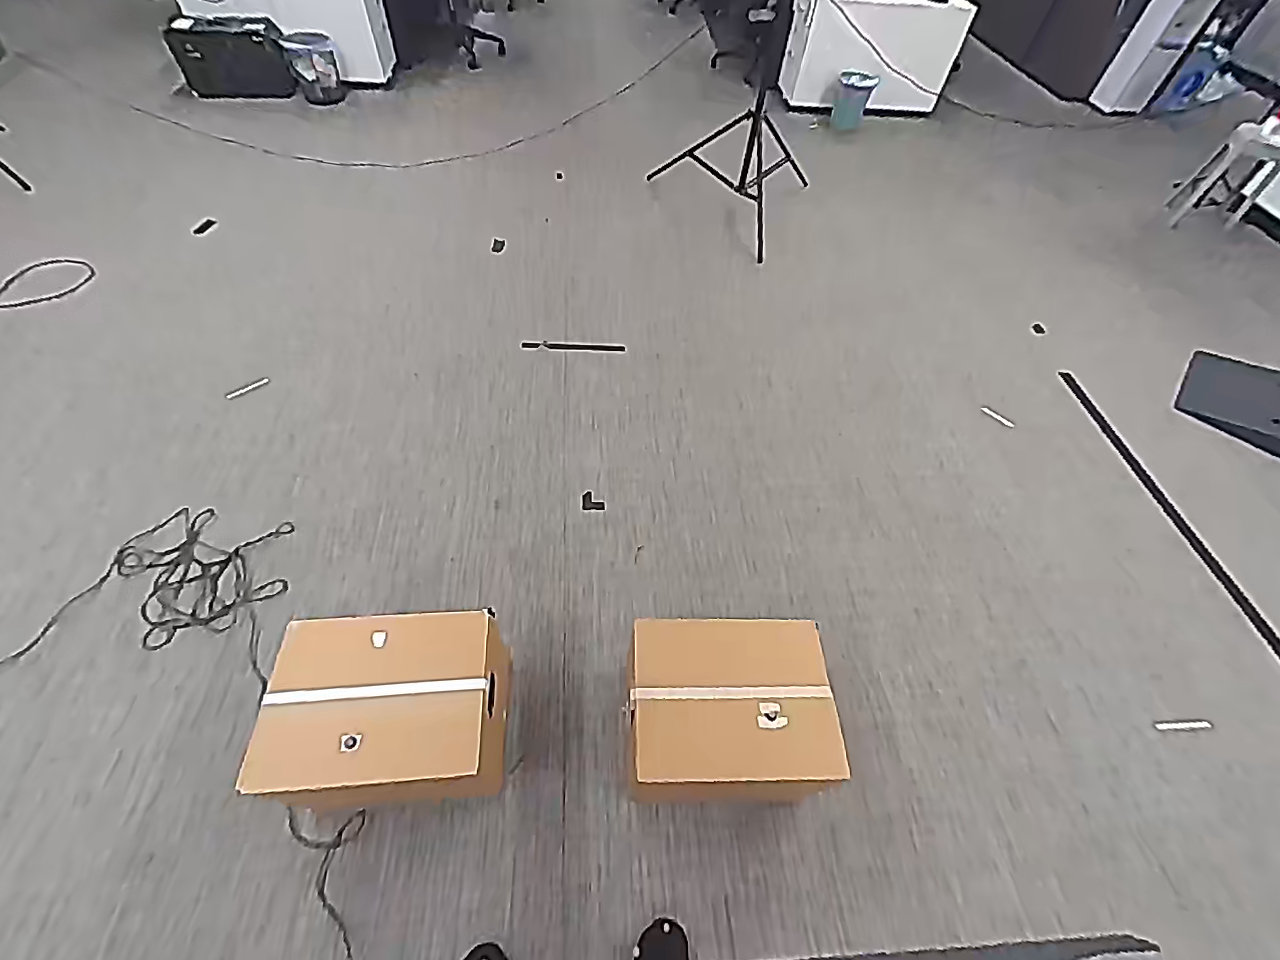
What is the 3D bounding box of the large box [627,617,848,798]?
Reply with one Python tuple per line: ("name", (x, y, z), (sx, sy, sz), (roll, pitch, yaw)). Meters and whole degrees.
("large box", (0.182, 0.514, 1.215), (0.408, 0.320, 0.320), (2, 54, -5))
